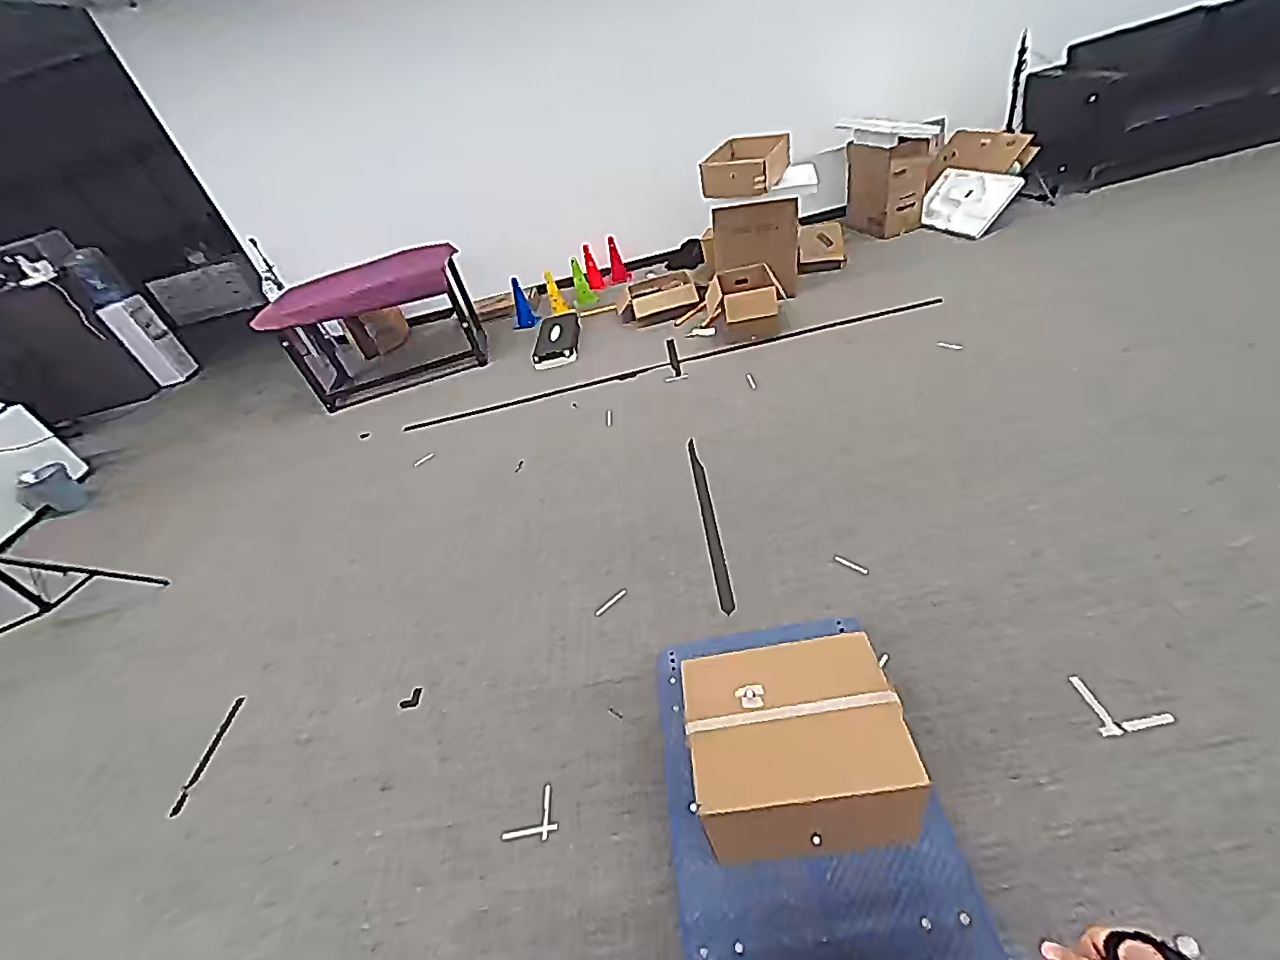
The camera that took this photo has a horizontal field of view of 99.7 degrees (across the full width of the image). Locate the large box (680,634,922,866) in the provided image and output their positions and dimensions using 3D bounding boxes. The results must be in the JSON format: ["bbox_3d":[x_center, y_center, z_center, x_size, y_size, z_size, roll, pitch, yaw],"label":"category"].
[{"bbox_3d":[0.326,0.581,1.161,0.408,0.320,0.320,-13,37,7],"label":"large box"}]
